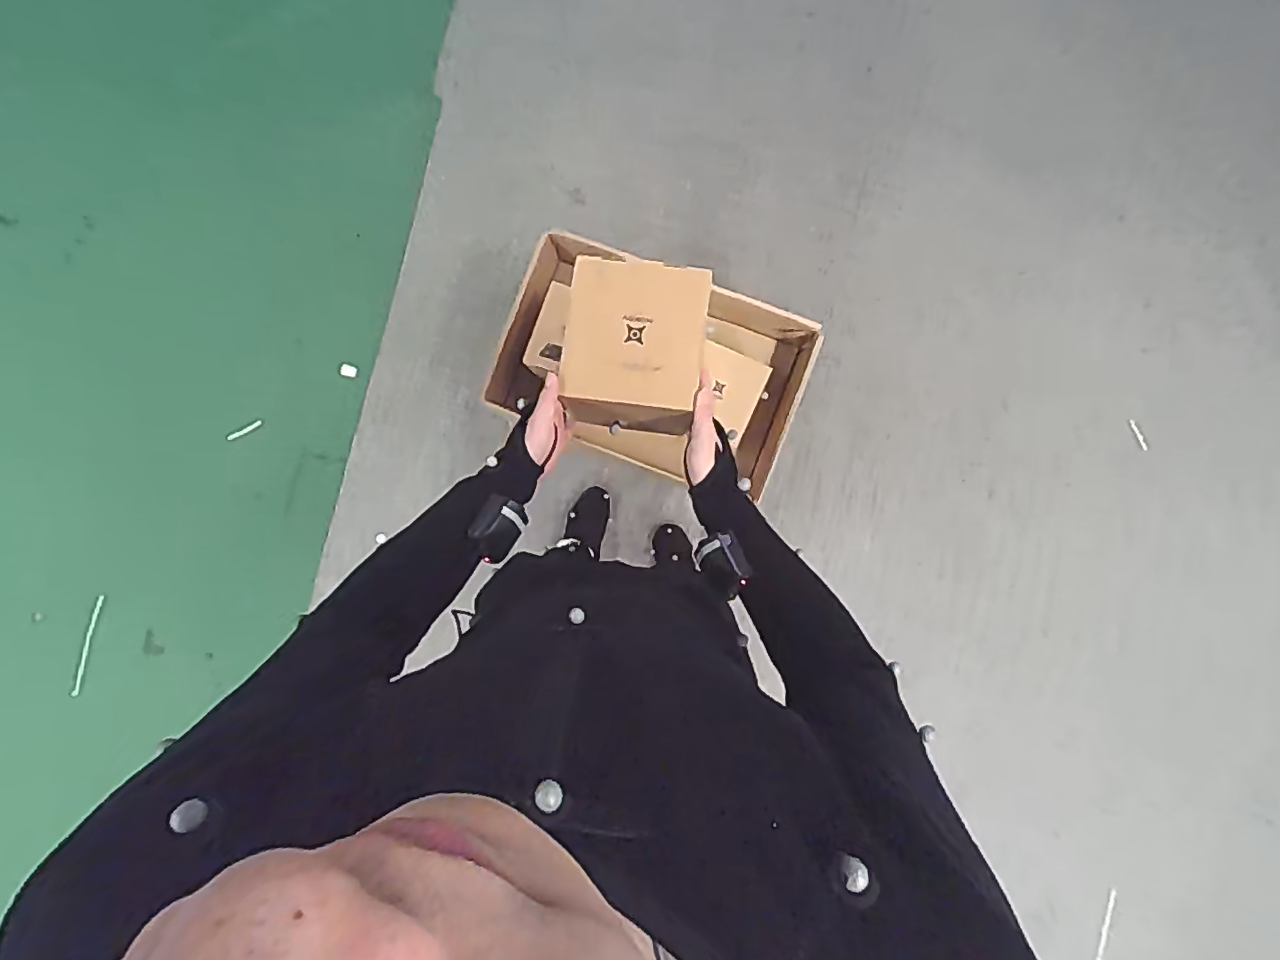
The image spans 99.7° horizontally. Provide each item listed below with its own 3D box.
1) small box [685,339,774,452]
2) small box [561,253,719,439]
[{"bbox_3d":[0.156,-0.171,1.132,0.168,0.176,0.179,25,90,2],"label":"small box"},{"bbox_3d":[-0.001,-0.162,0.703,0.168,0.176,0.179,7,84,1],"label":"small box"}]
